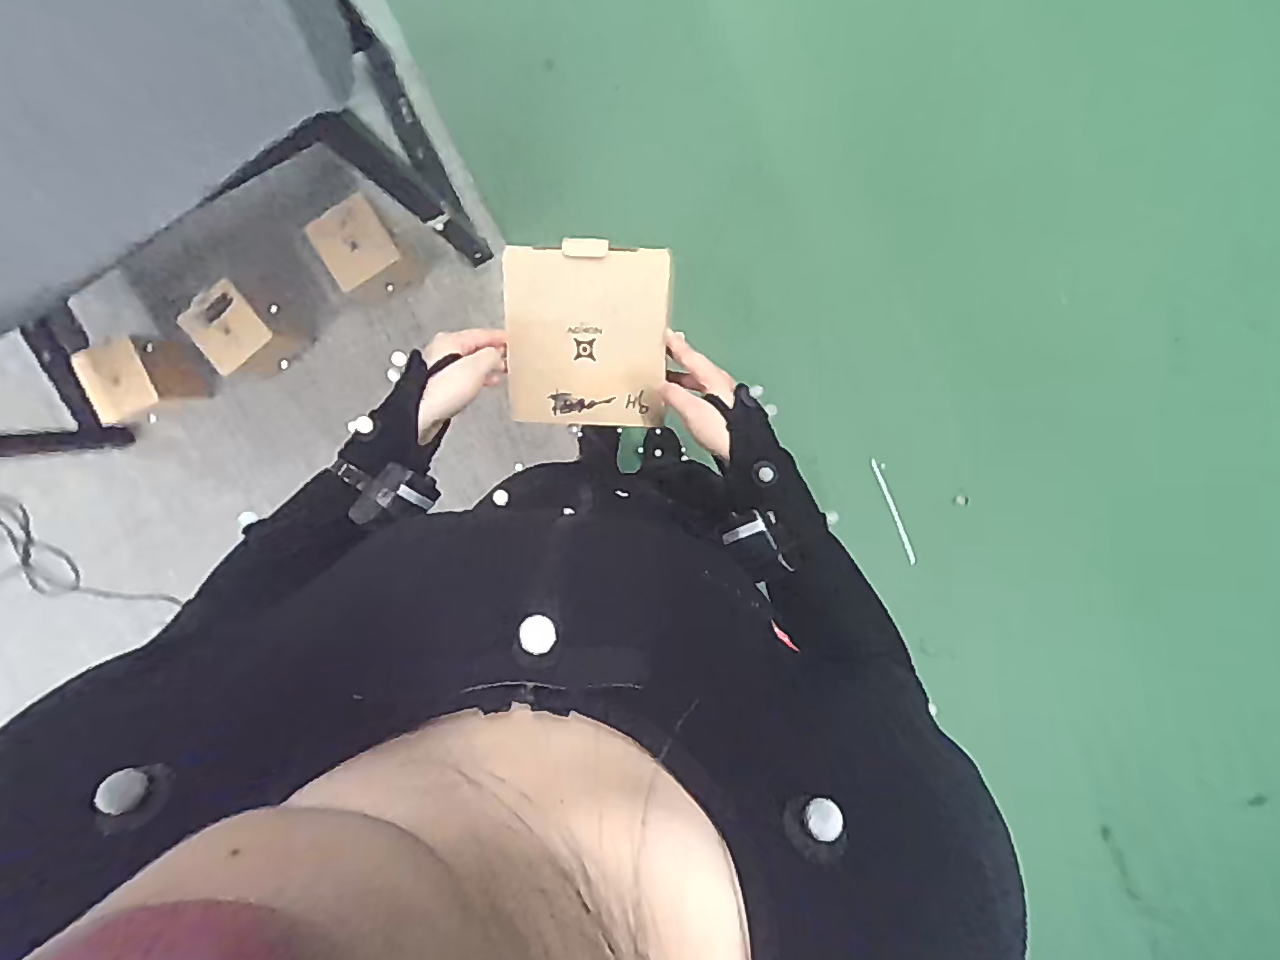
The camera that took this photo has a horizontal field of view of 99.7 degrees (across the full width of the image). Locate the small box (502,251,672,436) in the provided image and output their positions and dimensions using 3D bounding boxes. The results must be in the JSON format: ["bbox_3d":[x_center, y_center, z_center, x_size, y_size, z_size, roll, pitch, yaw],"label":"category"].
[{"bbox_3d":[-0.051,-0.157,0.615,0.168,0.176,0.179,3,109,3],"label":"small box"}]

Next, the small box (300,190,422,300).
[{"bbox_3d":[-0.670,-0.560,1.324,0.168,0.176,0.179,-30,96,4],"label":"small box"}]

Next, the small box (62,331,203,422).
[{"bbox_3d":[-1.278,-0.259,1.377,0.168,0.176,0.179,-21,97,4],"label":"small box"}]
